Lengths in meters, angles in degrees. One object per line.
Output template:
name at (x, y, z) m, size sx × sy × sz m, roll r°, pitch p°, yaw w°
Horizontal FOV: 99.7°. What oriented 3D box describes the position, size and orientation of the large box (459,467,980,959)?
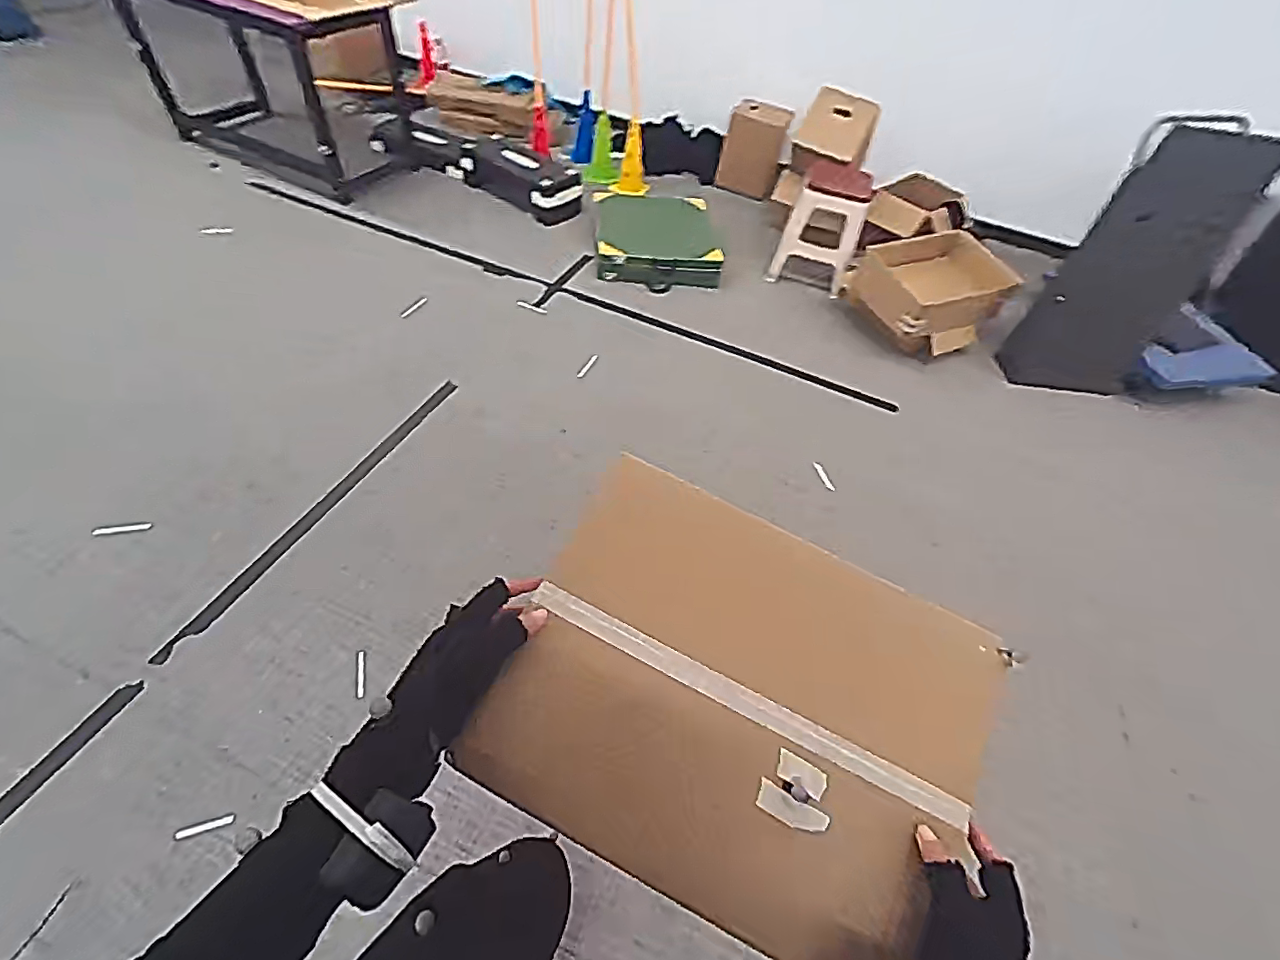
large box at (0.075, 0.243, 0.628) m, size 0.408 × 0.320 × 0.320 m, roll 26°, pitch 72°, yaw 6°
